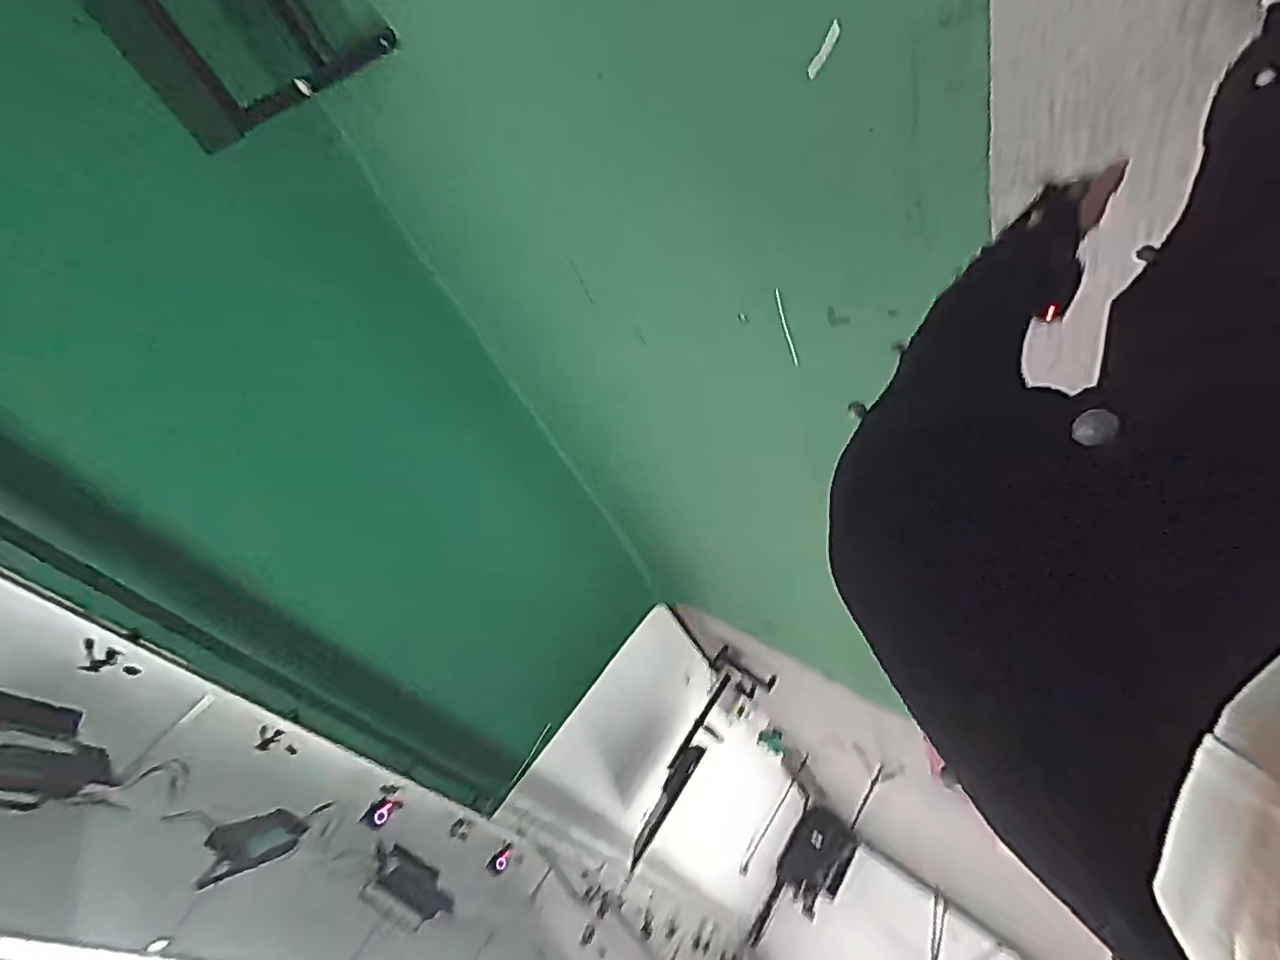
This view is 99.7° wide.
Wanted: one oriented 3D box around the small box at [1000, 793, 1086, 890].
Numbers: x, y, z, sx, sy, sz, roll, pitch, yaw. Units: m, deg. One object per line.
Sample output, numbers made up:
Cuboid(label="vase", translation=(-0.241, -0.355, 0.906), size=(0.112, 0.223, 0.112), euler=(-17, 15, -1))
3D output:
Cuboid(label="small box", translation=(1.248, 1.116, 1.677), size=(0.179, 0.176, 0.168), euler=(19, 149, 43))
